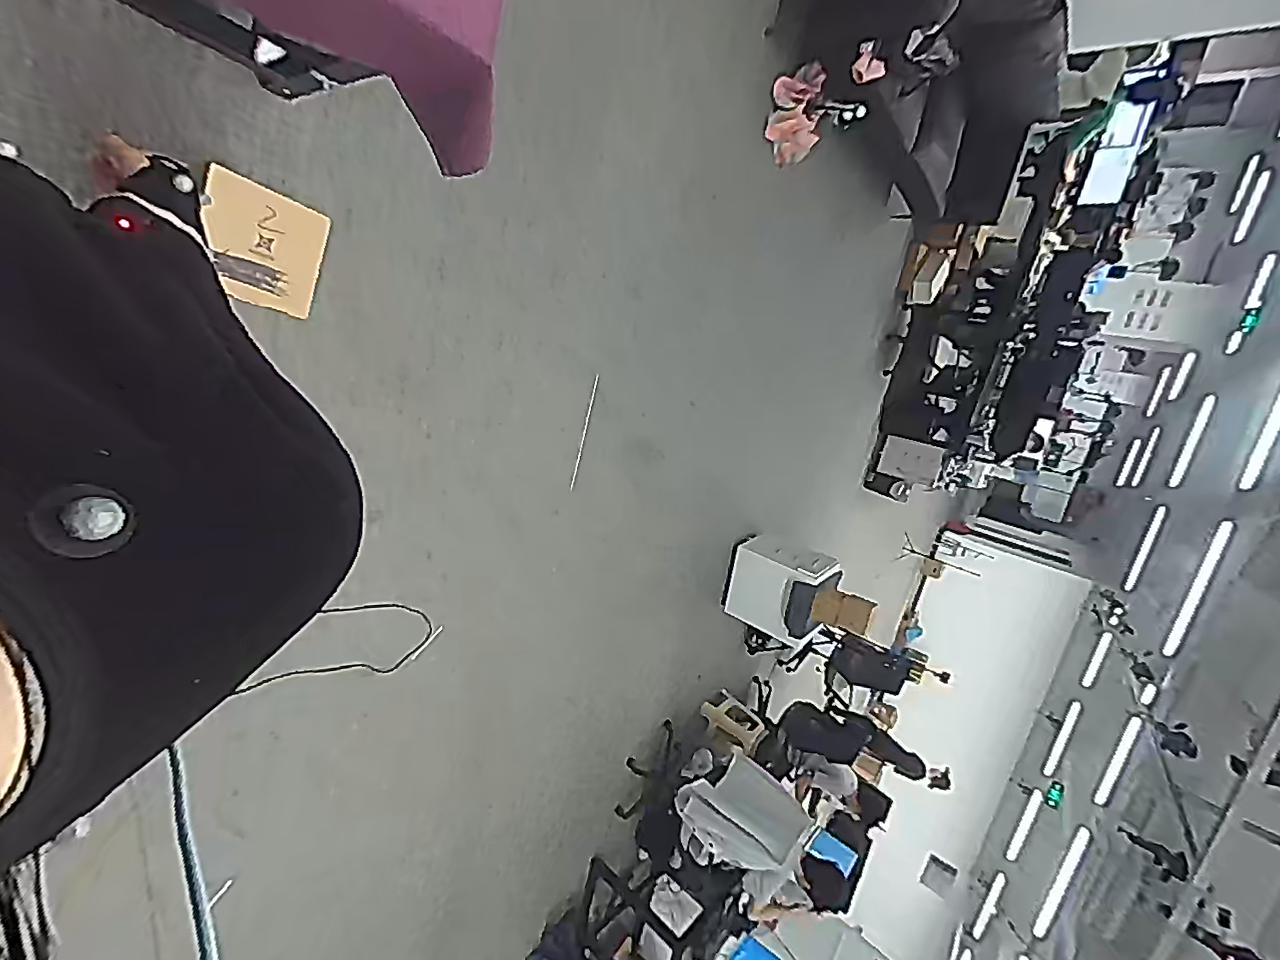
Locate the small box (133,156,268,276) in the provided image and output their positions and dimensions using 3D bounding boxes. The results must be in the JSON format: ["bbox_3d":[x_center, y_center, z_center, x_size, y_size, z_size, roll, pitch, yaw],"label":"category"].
[{"bbox_3d":[-0.876,-0.521,1.079,0.179,0.176,0.168,-1,108,-50],"label":"small box"}]
